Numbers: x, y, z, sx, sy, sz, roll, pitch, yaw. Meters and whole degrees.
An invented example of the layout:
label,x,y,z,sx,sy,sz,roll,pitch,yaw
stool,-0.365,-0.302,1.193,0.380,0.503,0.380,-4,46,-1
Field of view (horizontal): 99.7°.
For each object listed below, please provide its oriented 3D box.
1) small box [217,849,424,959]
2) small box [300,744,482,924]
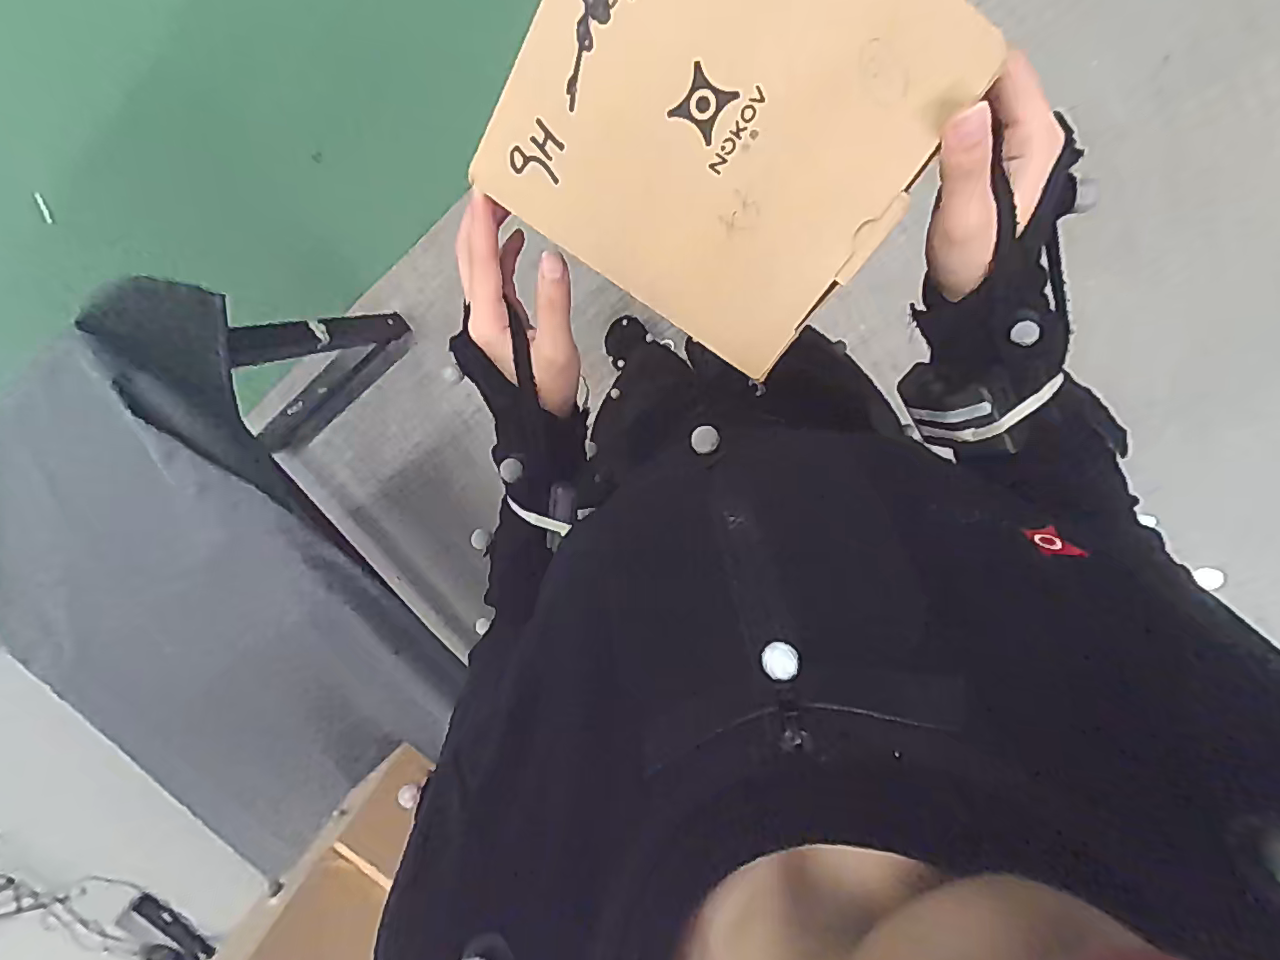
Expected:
label,x,y,z,sx,sy,sz,roll,pitch,yaw
small box,-0.403,0.601,0.655,0.168,0.176,0.179,-41,99,18
small box,-0.367,0.540,0.802,0.168,0.176,0.179,43,109,-8
